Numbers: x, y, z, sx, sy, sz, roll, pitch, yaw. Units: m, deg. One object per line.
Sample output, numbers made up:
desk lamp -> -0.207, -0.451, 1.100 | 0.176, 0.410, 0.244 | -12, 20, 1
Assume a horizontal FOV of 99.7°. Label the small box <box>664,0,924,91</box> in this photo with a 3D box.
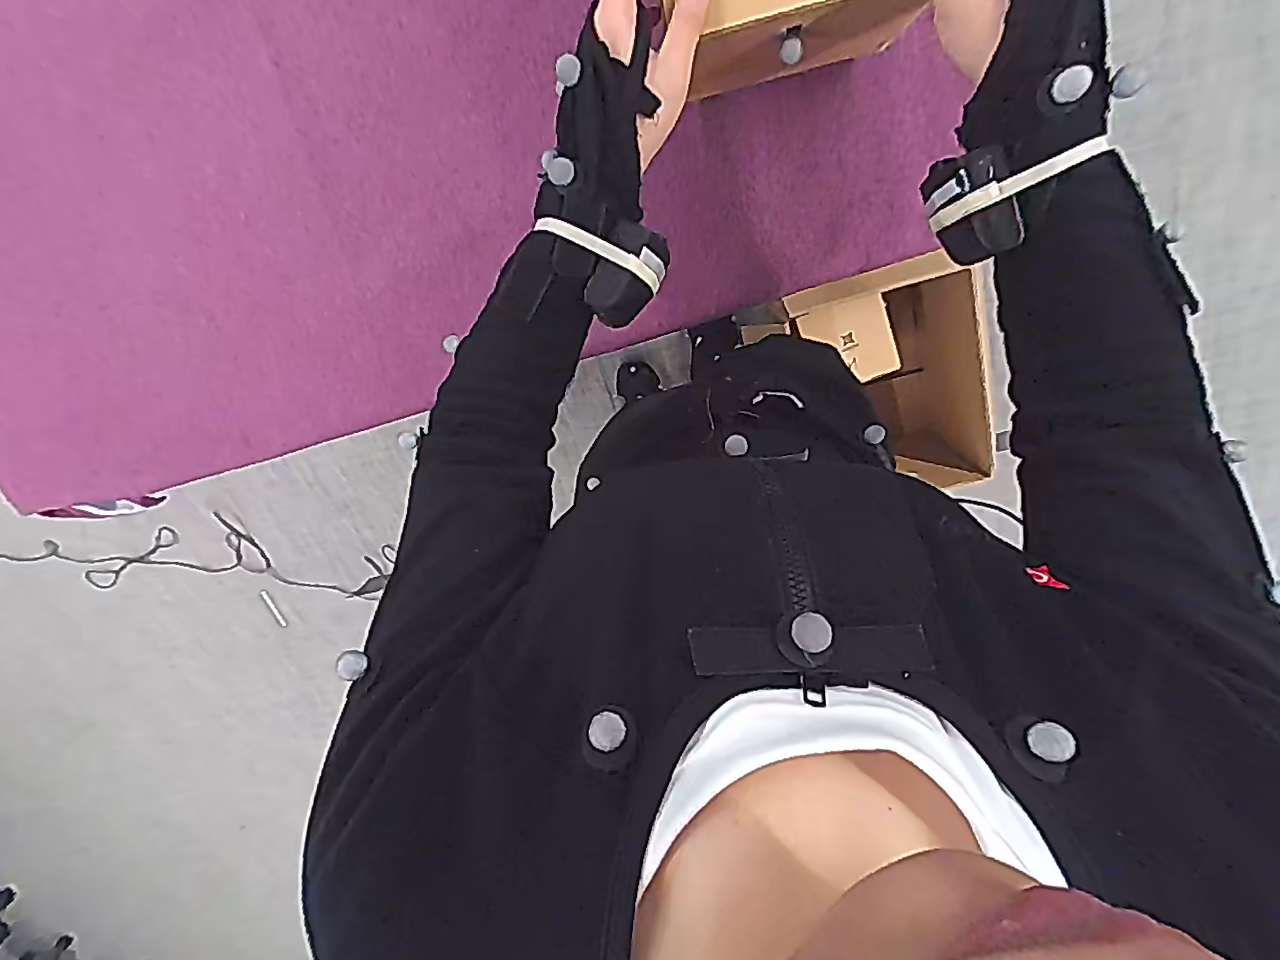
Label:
small box -> 0.095, -0.385, 0.353 | 0.179, 0.176, 0.168 | -8, 114, 11
